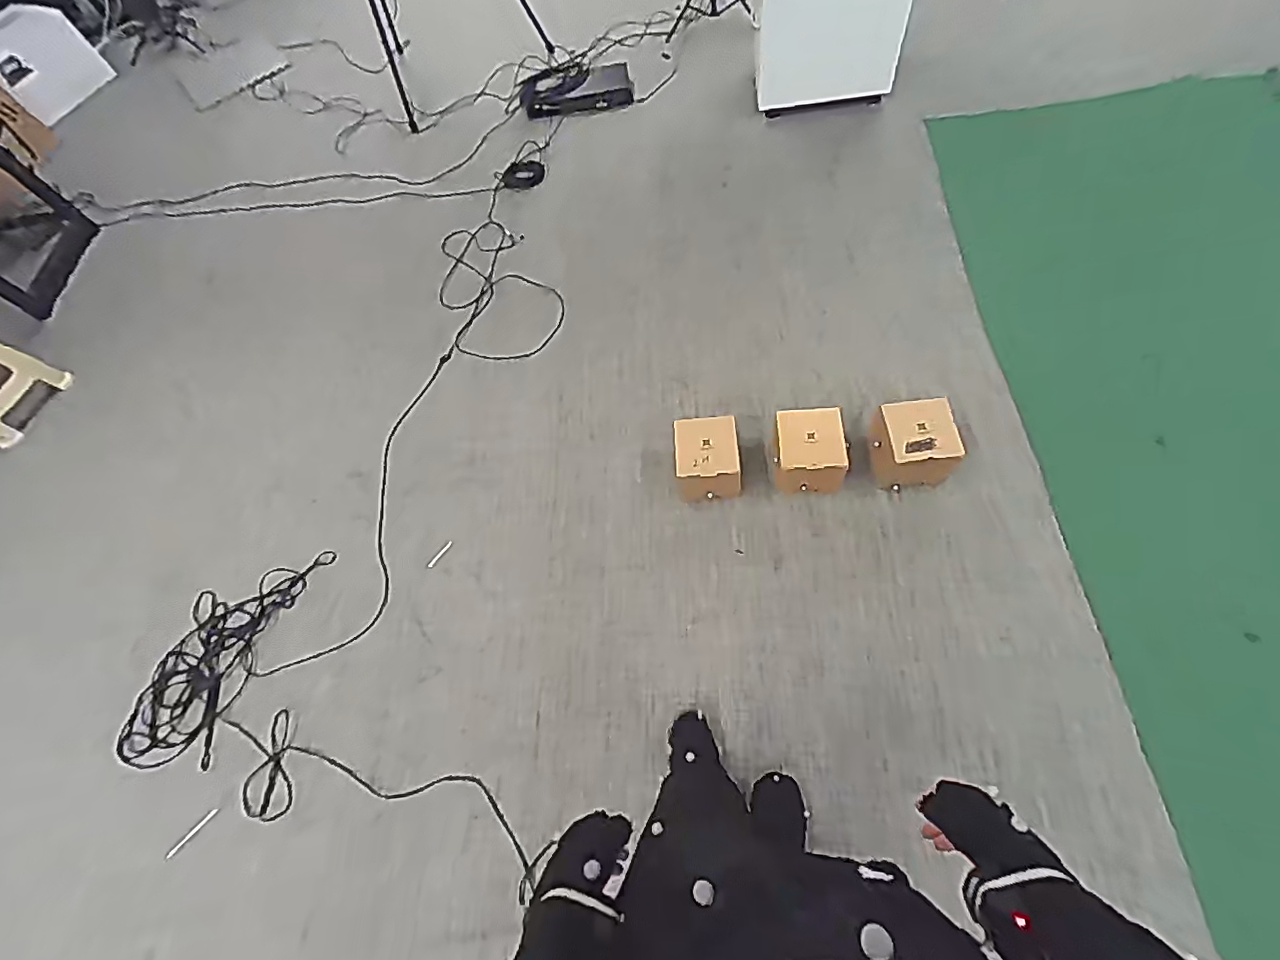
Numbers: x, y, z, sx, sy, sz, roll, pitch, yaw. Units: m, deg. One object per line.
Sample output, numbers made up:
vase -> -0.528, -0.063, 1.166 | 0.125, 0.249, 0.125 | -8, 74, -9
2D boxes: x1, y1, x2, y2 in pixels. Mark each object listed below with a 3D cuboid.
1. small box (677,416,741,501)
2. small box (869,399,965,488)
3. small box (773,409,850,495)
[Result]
small box -> 0.191, -0.056, 1.498 | 0.168, 0.176, 0.179 | -4, 64, 8
small box -> 0.723, -0.088, 1.429 | 0.168, 0.176, 0.179 | -5, 63, 7
small box -> 0.457, -0.072, 1.465 | 0.168, 0.176, 0.179 | -2, 64, 8
